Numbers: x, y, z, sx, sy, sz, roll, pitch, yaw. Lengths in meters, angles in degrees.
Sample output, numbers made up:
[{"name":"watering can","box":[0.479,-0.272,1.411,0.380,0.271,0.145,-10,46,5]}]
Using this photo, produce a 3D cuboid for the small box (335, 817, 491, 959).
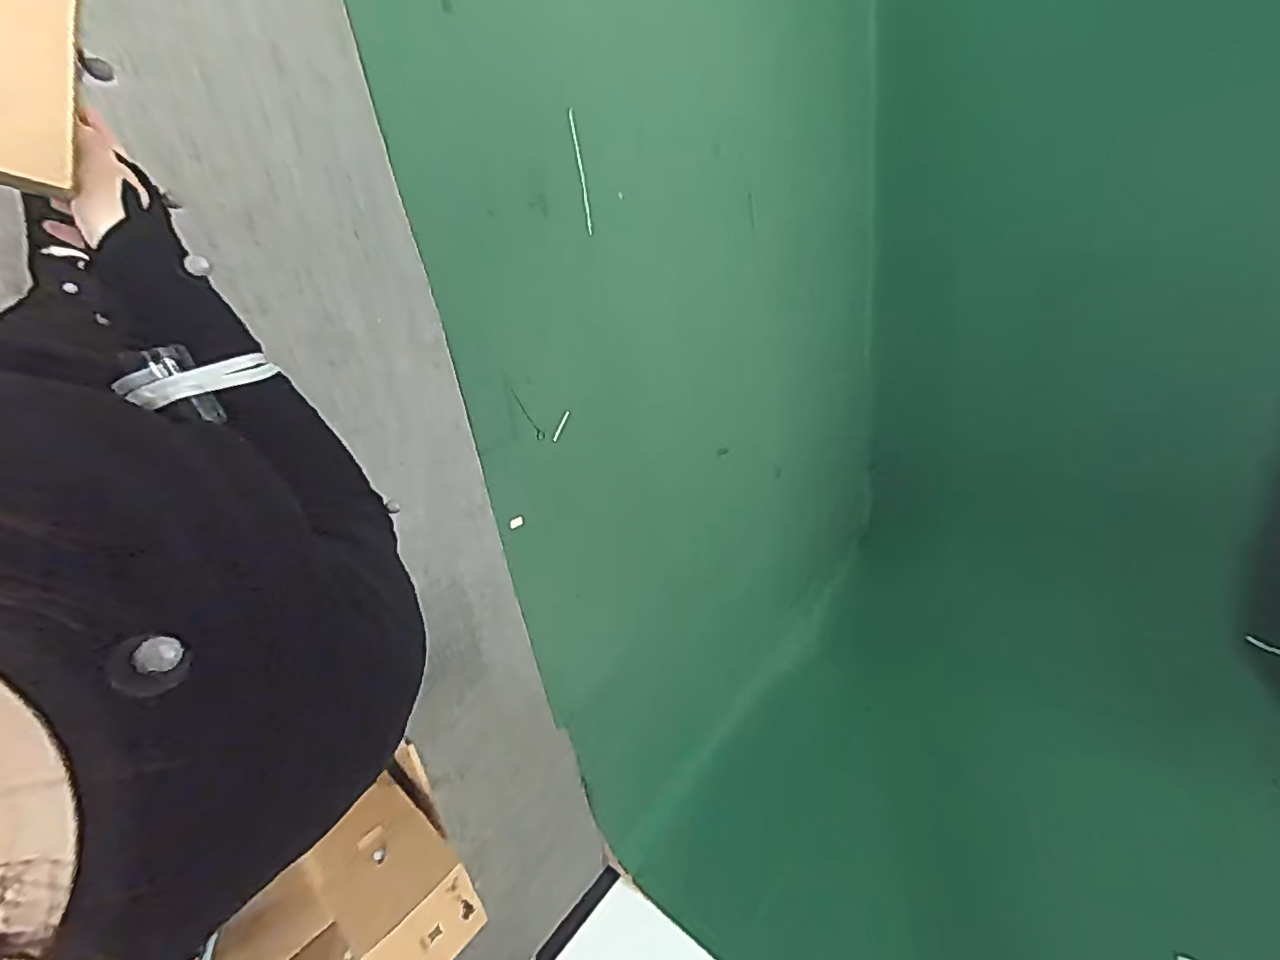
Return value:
[{"name":"small box","box":[-0.388,0.731,0.915,0.179,0.176,0.168,-30,119,-39]}]

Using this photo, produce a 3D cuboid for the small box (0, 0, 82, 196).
[{"name":"small box","box":[-0.417,-0.272,0.286,0.168,0.176,0.179,2,105,-46]}]
